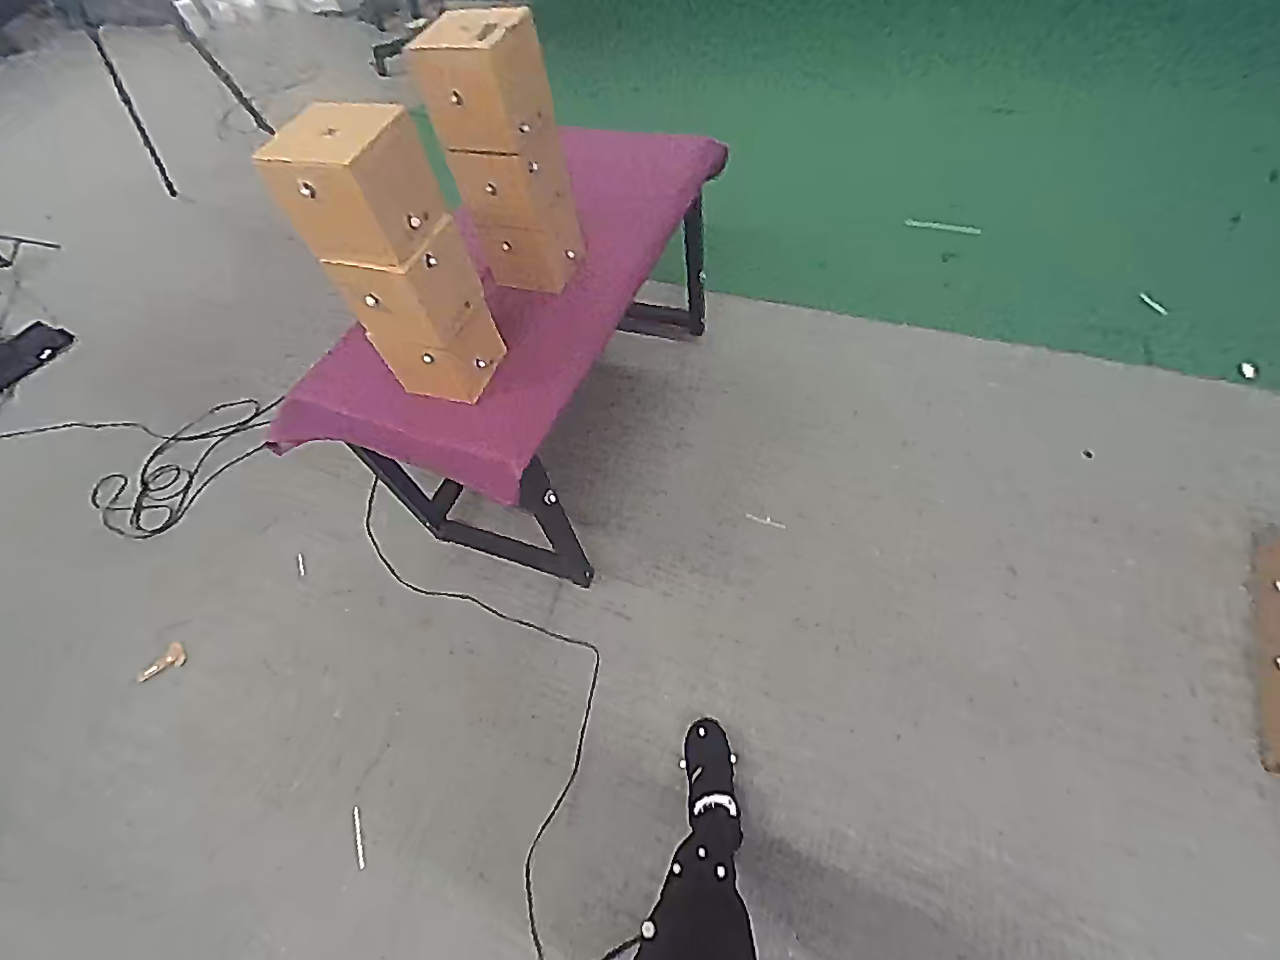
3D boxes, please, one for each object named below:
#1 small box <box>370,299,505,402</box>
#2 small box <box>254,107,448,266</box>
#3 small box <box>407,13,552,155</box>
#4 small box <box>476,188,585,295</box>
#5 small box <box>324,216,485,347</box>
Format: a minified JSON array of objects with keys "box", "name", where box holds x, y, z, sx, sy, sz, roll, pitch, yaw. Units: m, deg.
[{"box":[-0.414,-0.284,1.137,0.179,0.176,0.168,12,59,15],"name":"small box"},{"box":[-0.447,-0.466,0.866,0.179,0.176,0.168,12,60,14],"name":"small box"},{"box":[-0.287,-0.738,1.016,0.179,0.176,0.168,13,60,17],"name":"small box"},{"box":[-0.253,-0.569,1.296,0.179,0.176,0.168,15,61,17],"name":"small box"},{"box":[-0.421,-0.368,0.996,0.179,0.176,0.168,13,60,16],"name":"small box"}]
